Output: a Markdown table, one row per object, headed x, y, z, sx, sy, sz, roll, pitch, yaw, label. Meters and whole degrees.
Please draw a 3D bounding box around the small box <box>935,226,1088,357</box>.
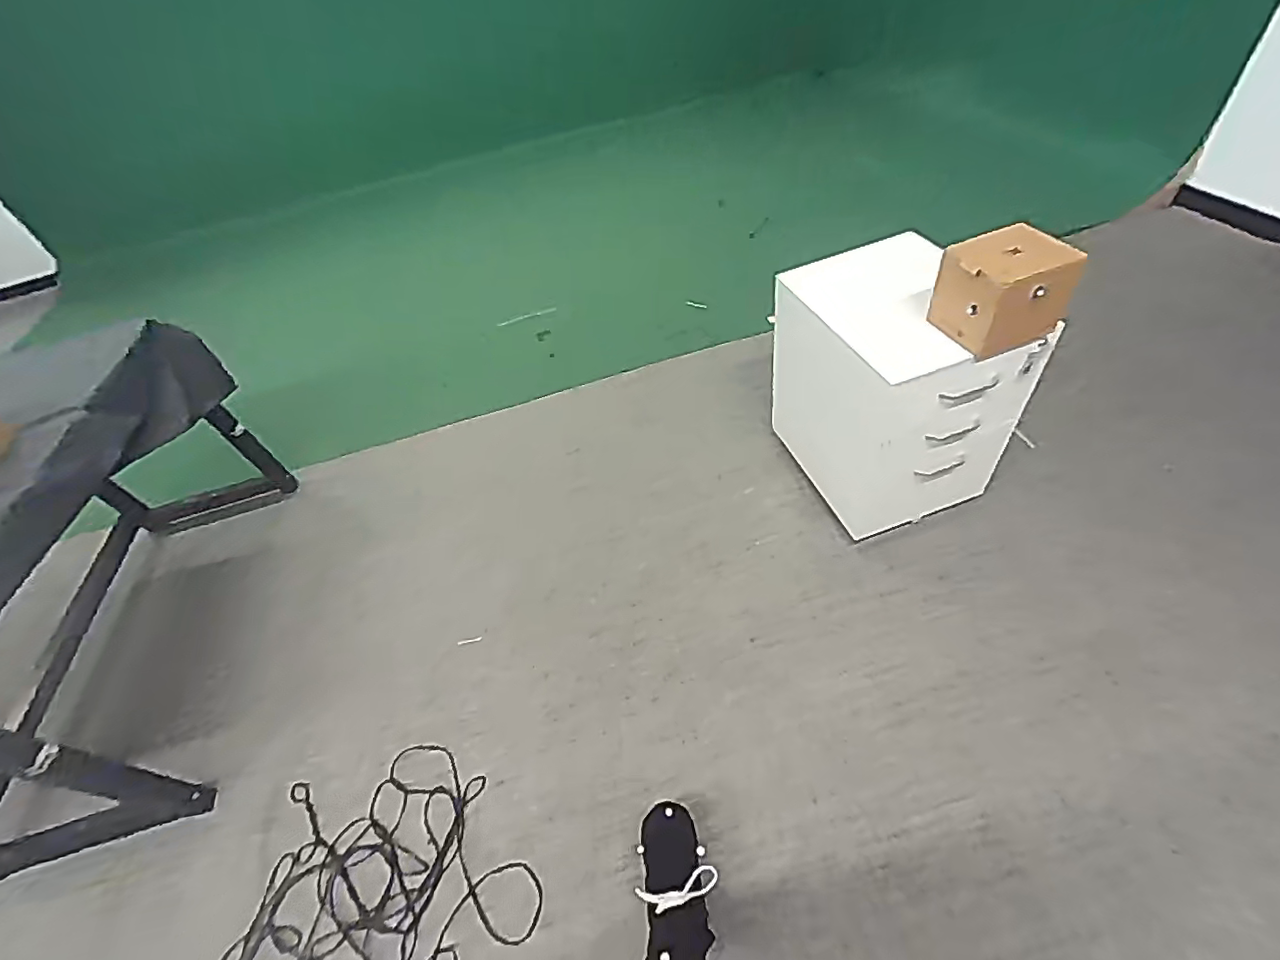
| x | y | z | sx | sy | sz | roll | pitch | yaw | label |
| --- | --- | --- | --- | --- | --- | --- | --- | --- | --- |
| 0.722 | -0.373 | 1.082 | 0.179 | 0.176 | 0.168 | -19 | 48 | -4 | small box |
